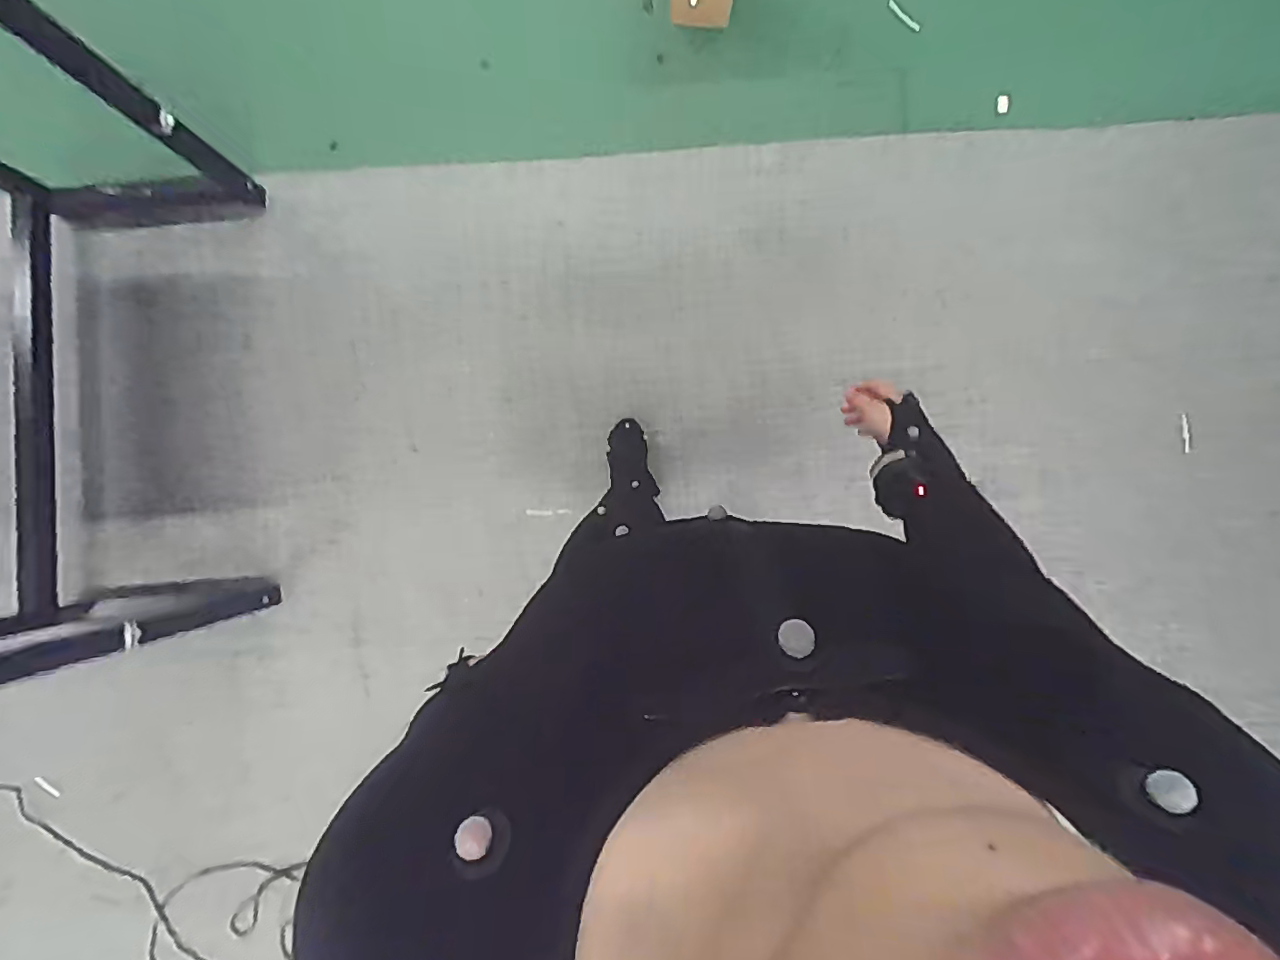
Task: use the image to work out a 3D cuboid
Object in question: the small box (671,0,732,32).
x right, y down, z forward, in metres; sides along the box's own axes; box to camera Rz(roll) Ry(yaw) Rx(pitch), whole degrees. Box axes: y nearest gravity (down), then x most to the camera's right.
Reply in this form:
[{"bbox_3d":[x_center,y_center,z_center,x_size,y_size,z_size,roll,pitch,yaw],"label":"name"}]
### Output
[{"bbox_3d":[0.172,-1.361,1.456,0.168,0.176,0.179,4,88,0],"label":"small box"}]
